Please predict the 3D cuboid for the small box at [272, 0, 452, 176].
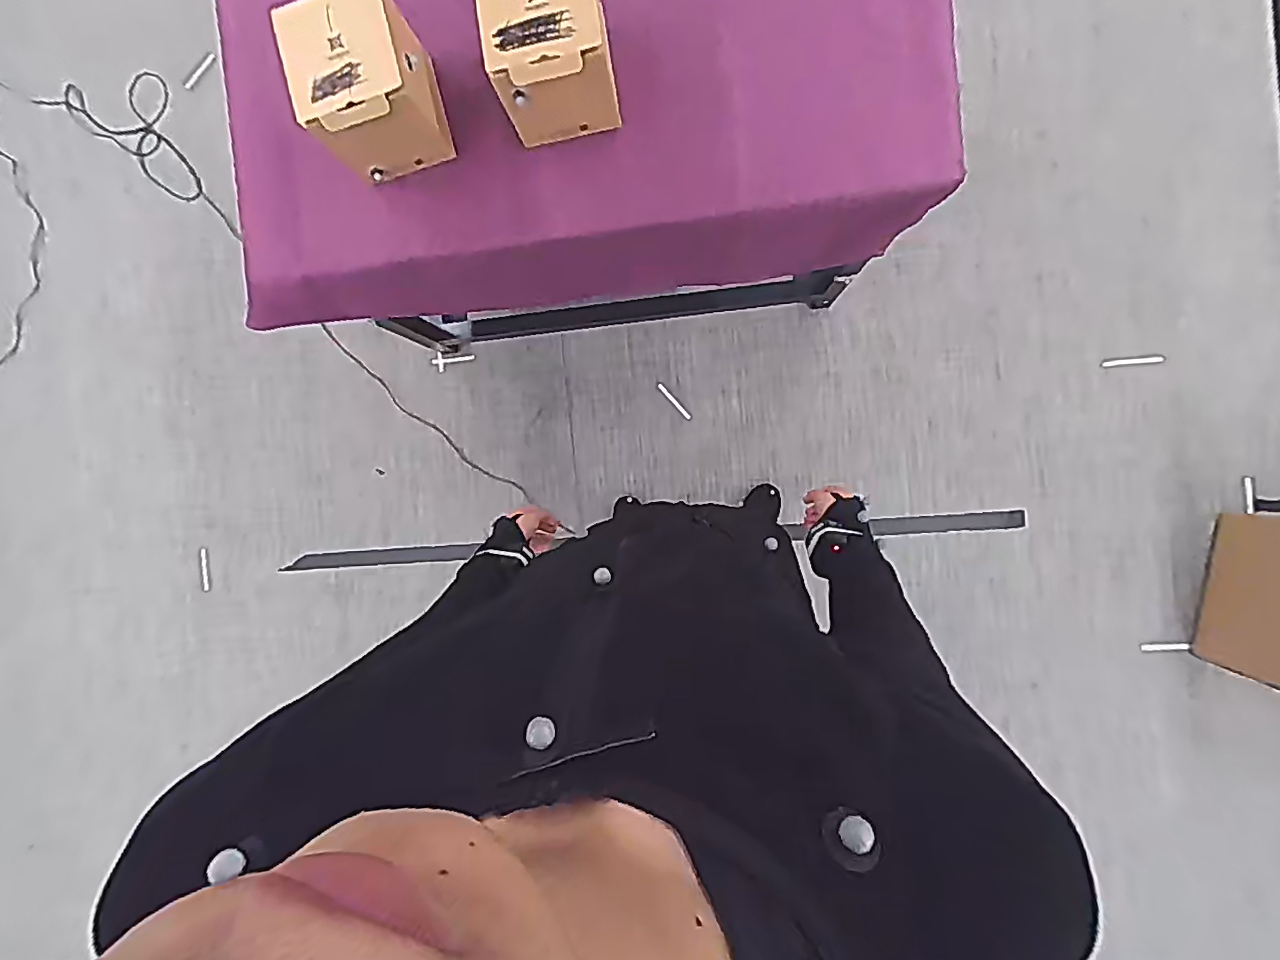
[{"bbox_3d":[-0.415,-0.604,0.836,0.168,0.176,0.179,-15,89,5],"label":"small box"}]
